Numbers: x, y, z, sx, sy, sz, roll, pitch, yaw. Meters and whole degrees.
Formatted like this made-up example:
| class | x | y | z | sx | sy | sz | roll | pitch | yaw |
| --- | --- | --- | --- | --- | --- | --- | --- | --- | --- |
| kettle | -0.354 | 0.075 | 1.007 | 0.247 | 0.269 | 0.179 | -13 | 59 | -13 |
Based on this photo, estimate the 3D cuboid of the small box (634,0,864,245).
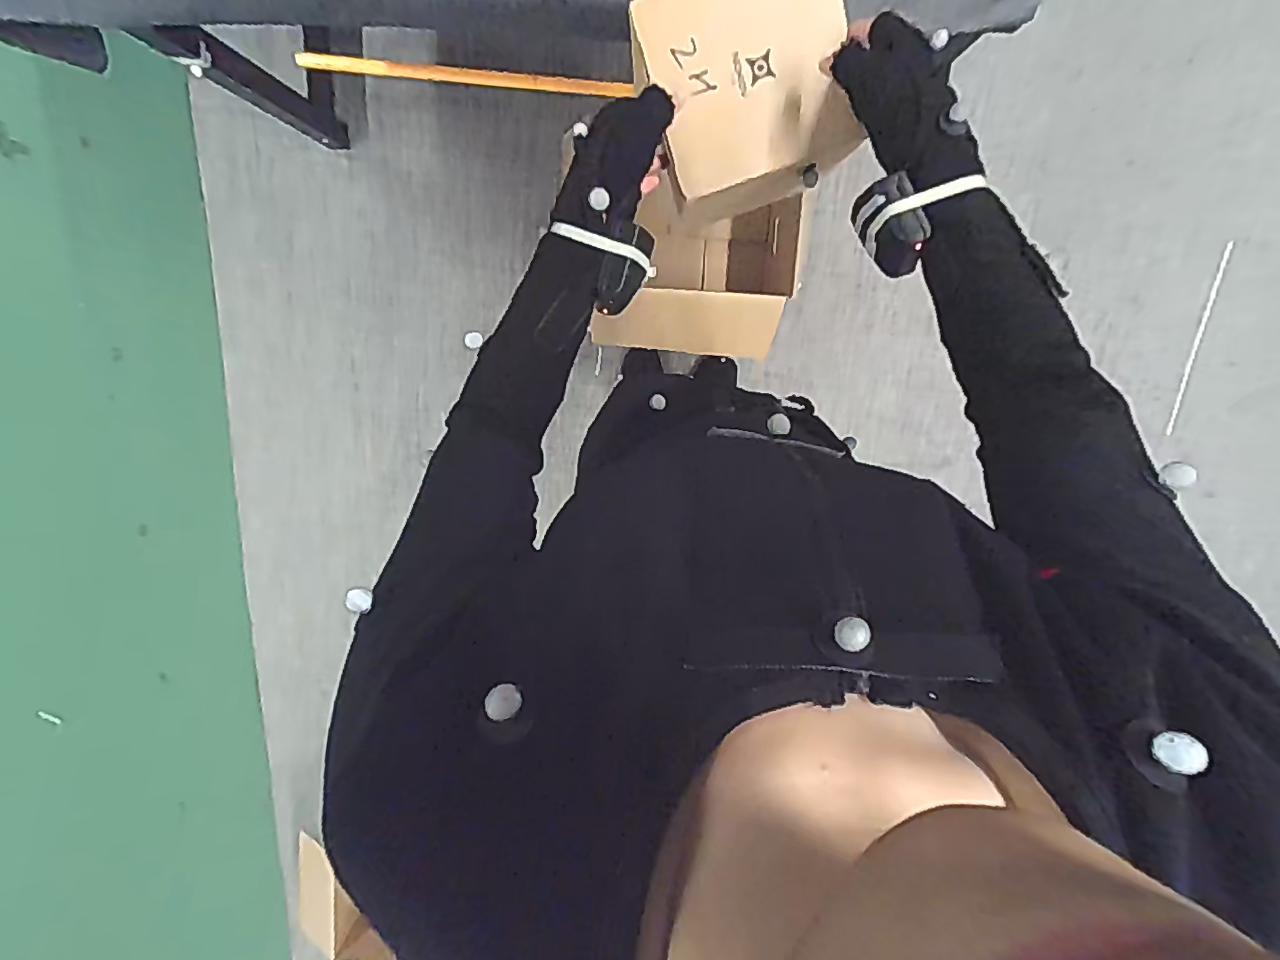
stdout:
| class | x | y | z | sx | sy | sz | roll | pitch | yaw |
| --- | --- | --- | --- | --- | --- | --- | --- | --- | --- |
| small box | 0.100 | -0.364 | 0.557 | 0.179 | 0.176 | 0.168 | -17 | 101 | 6 |
